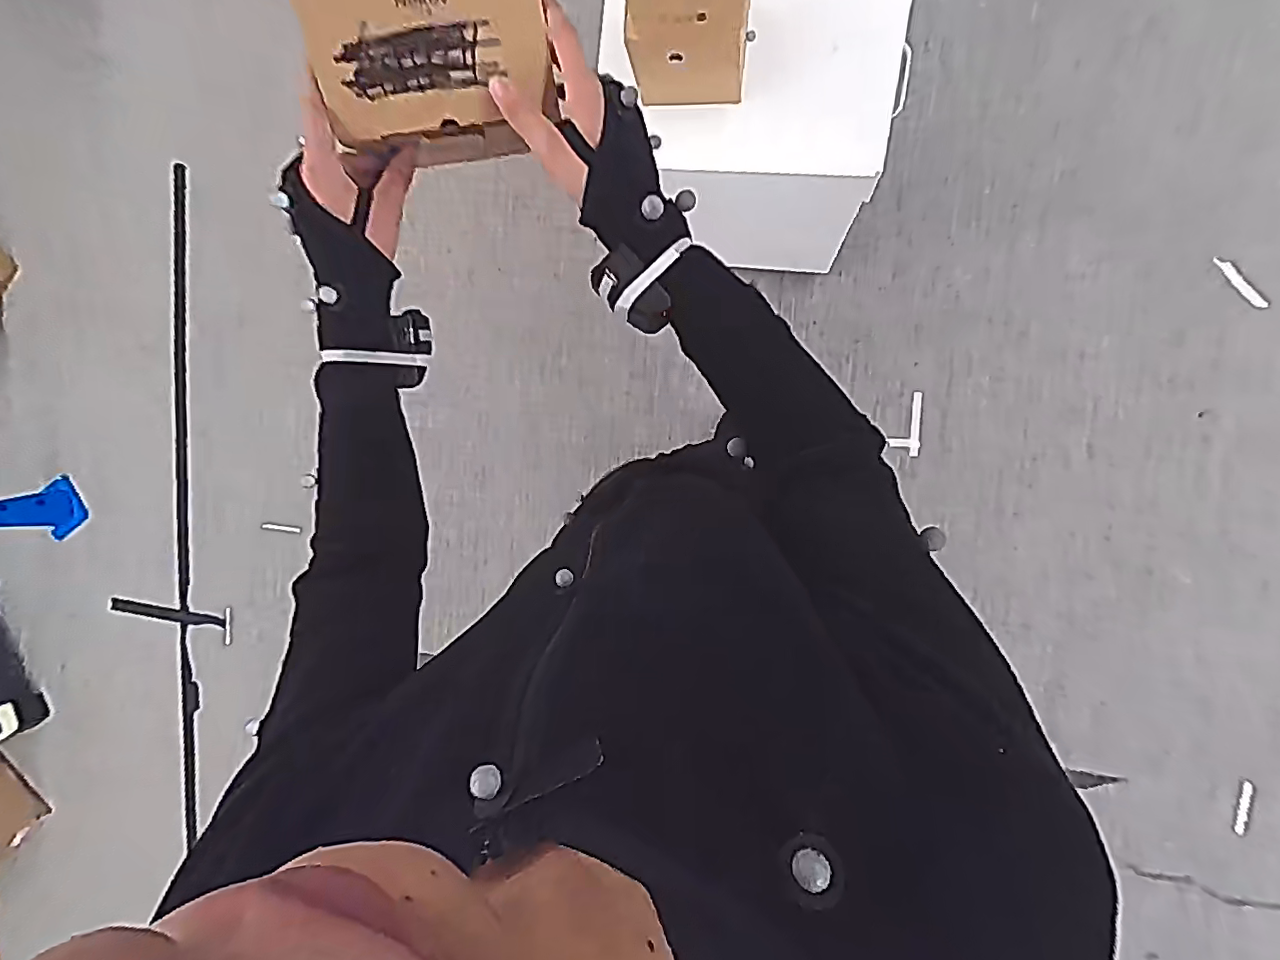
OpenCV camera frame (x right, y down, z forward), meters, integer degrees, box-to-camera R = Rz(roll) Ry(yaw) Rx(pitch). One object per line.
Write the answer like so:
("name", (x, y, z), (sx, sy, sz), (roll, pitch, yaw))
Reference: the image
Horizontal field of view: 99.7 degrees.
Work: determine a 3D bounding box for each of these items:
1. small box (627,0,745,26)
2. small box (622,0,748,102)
("small box", (0.061, -0.738, 0.706), (0.168, 0.176, 0.179), (7, 95, 10))
("small box", (0.079, -0.740, 0.868), (0.179, 0.176, 0.168), (6, 96, 9))
